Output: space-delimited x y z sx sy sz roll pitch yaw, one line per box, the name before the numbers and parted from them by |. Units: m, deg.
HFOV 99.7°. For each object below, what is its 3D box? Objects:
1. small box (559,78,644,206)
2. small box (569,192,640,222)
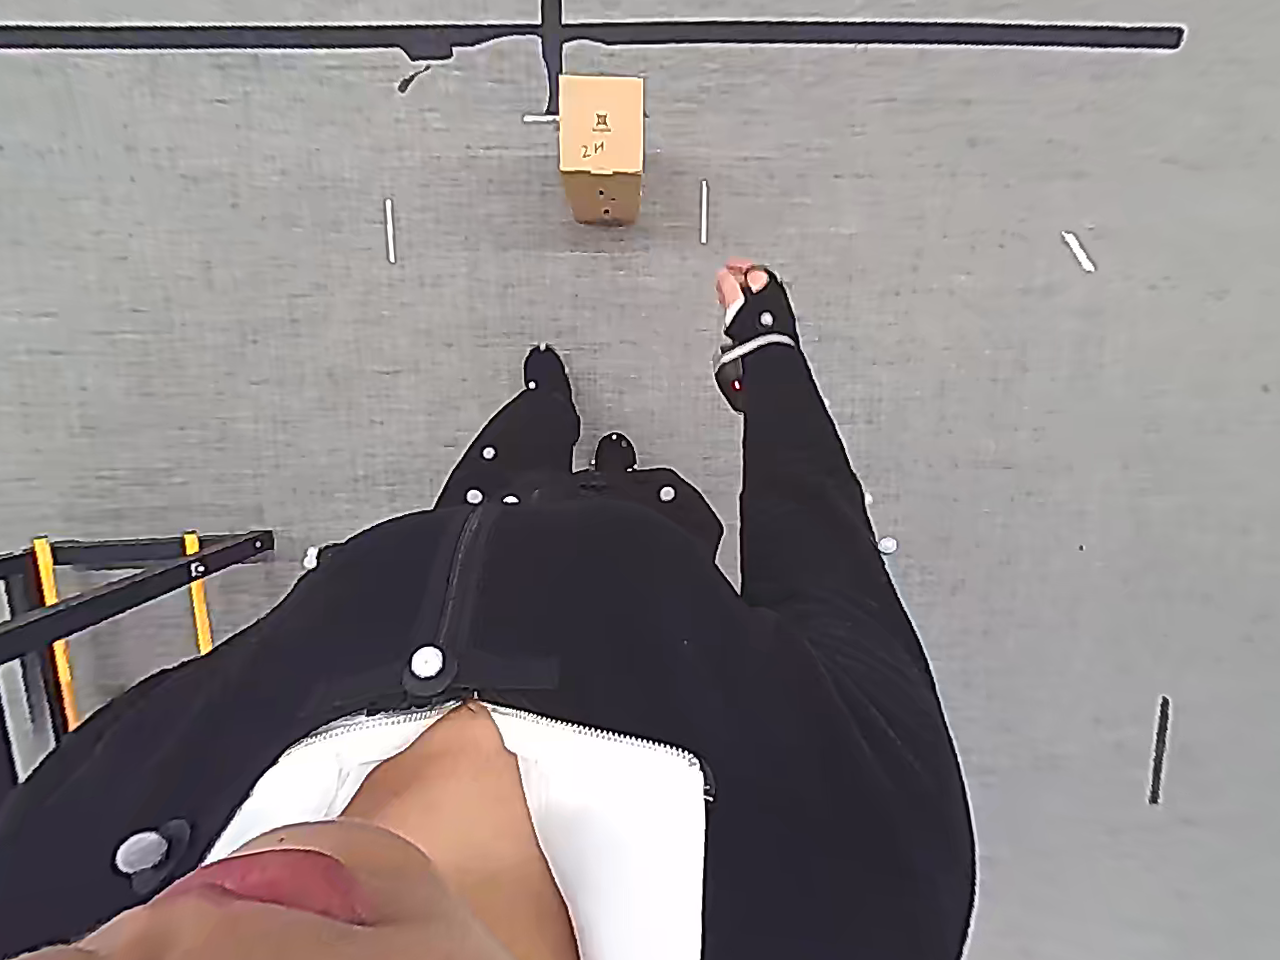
small box | -0.080 -0.701 1.137 0.168 0.176 0.179 1 99 -2
small box | -0.083 -0.733 1.300 0.168 0.176 0.179 -1 99 -2
